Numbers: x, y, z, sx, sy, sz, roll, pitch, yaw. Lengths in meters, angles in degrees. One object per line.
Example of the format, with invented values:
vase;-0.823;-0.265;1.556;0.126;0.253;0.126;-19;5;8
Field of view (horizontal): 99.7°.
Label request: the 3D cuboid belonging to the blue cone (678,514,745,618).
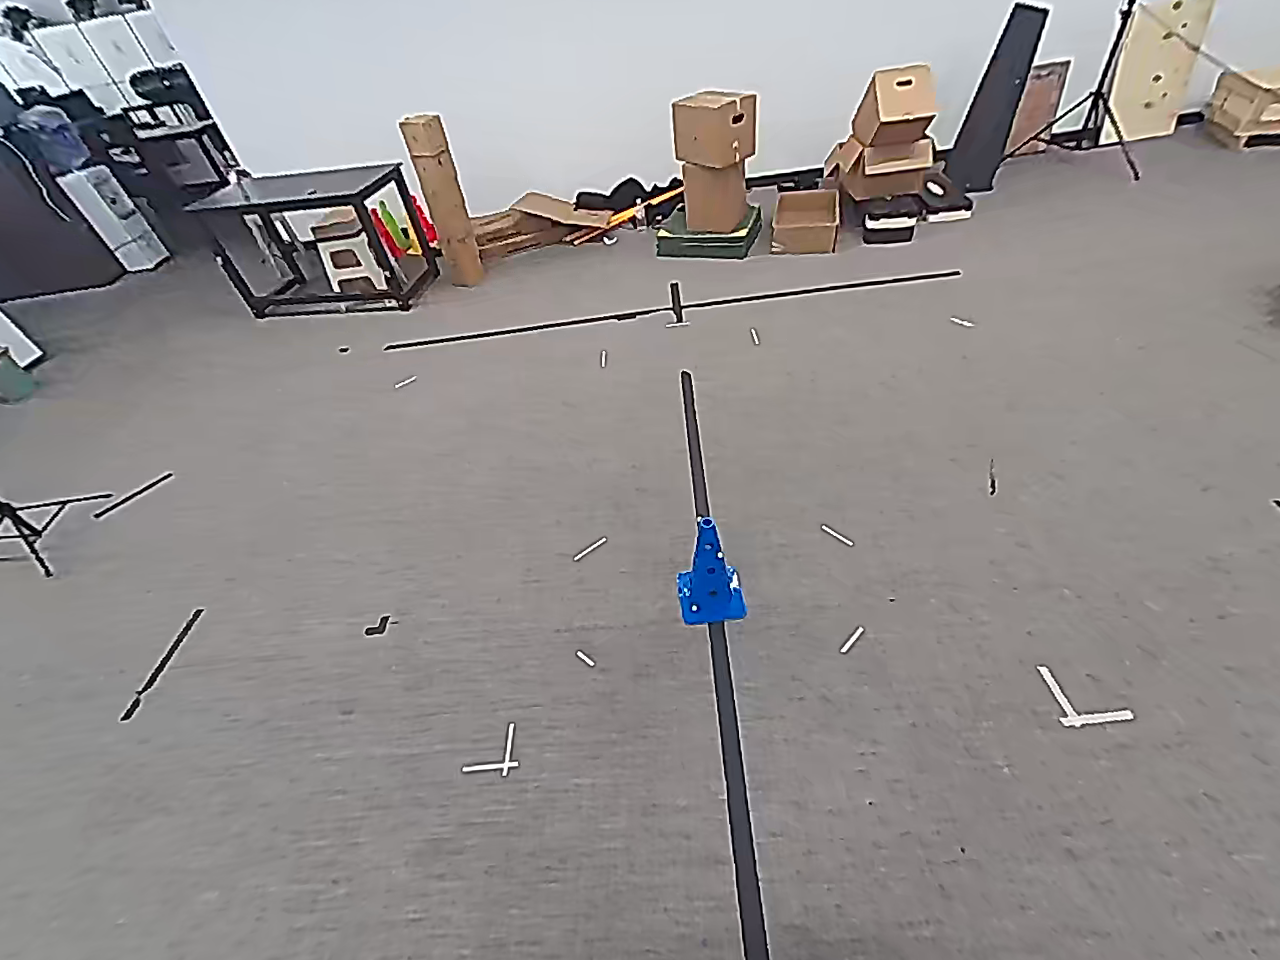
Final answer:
blue cone;0.211;0.233;1.610;0.192;0.380;0.193;-9;45;0
